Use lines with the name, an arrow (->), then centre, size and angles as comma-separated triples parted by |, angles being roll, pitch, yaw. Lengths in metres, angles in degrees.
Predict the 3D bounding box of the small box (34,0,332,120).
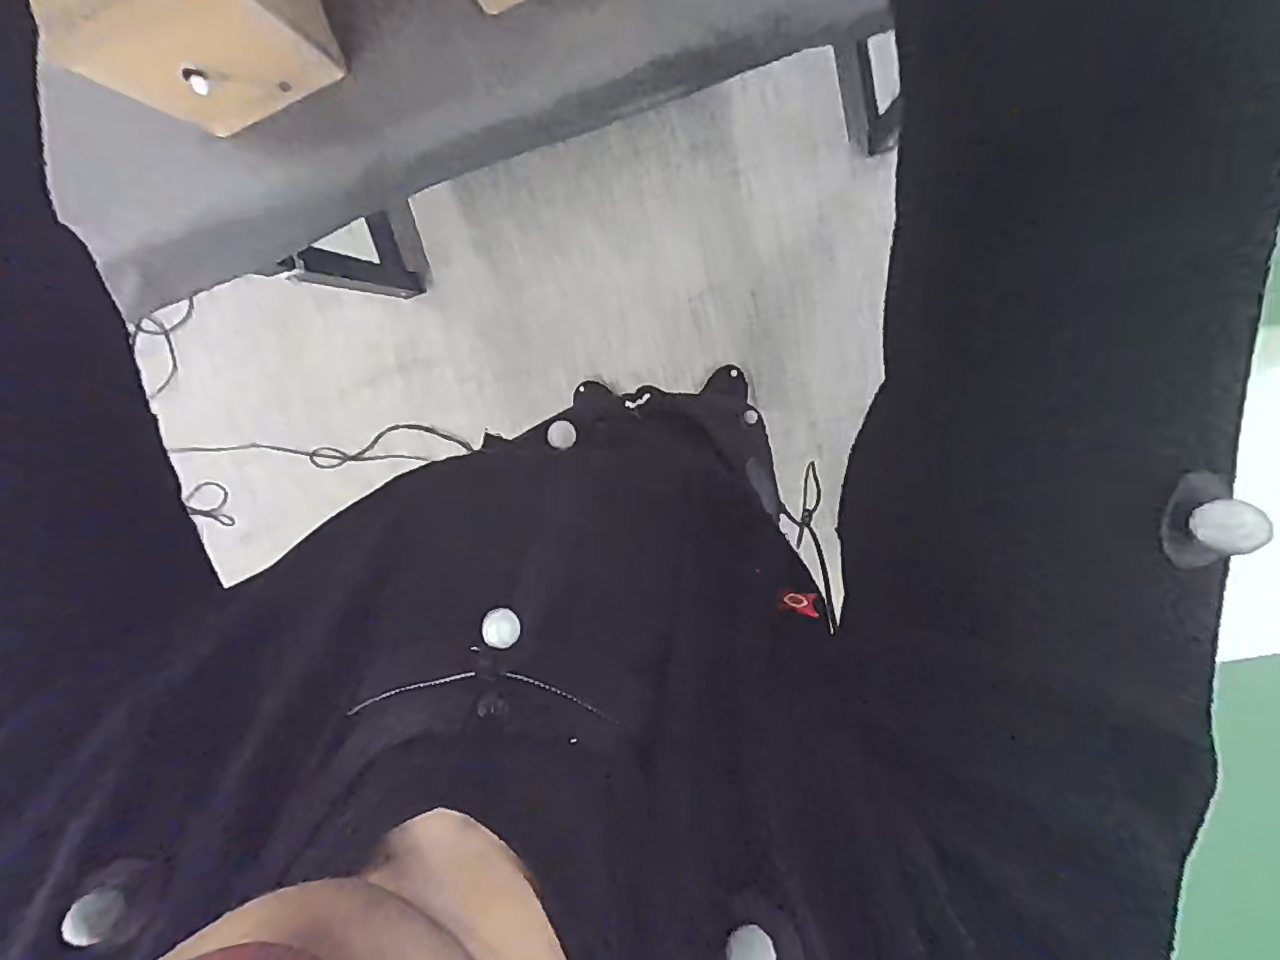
small box -> -0.421, -0.459, 0.481 | 0.168, 0.176, 0.179 | -19, 101, 9
